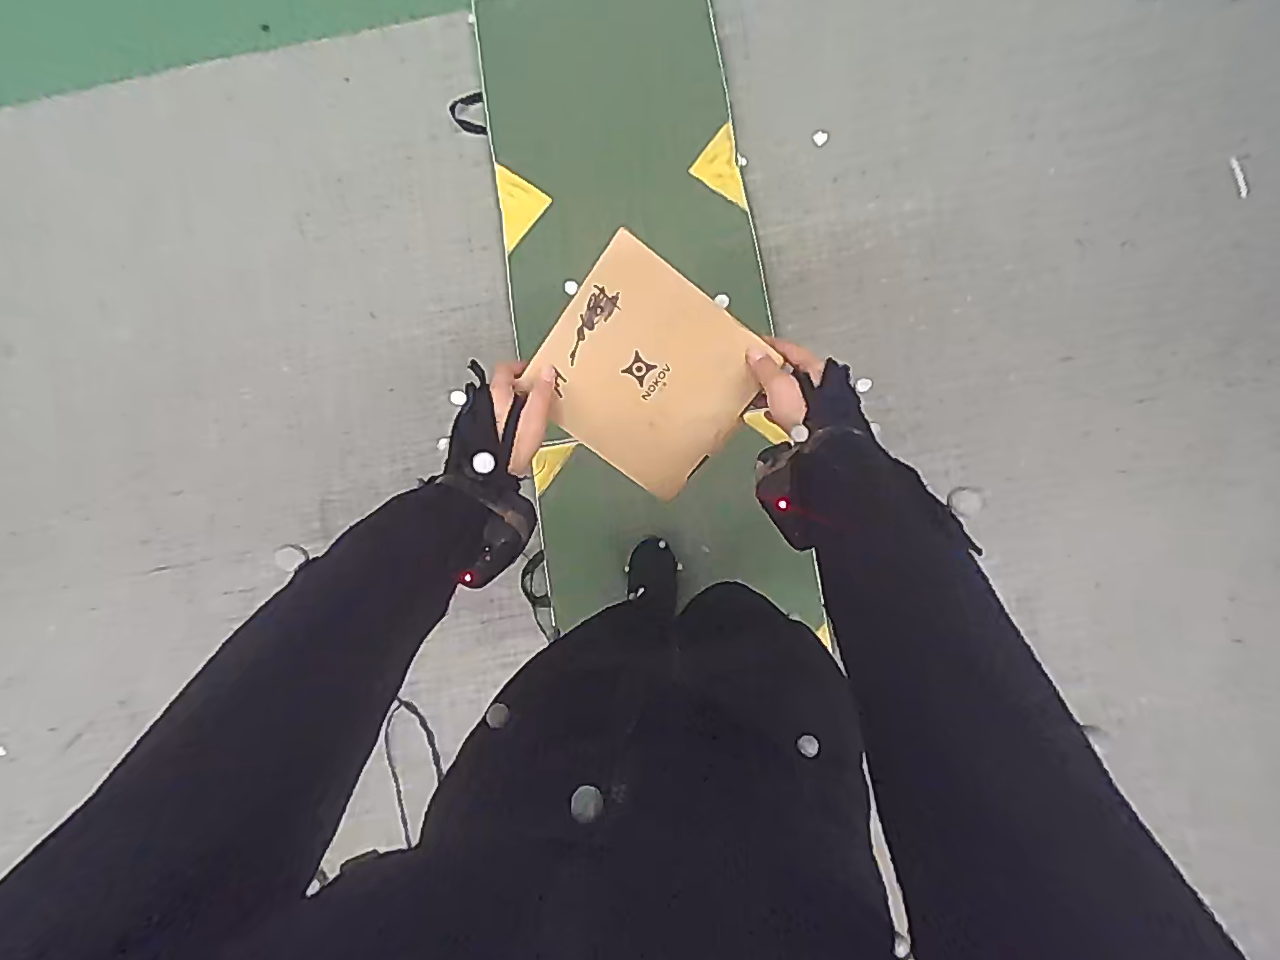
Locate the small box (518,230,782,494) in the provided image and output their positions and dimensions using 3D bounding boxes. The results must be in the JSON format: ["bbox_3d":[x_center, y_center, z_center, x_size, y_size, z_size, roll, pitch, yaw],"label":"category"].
[{"bbox_3d":[0.011,-0.120,0.547,0.179,0.176,0.168,36,106,-9],"label":"small box"}]
